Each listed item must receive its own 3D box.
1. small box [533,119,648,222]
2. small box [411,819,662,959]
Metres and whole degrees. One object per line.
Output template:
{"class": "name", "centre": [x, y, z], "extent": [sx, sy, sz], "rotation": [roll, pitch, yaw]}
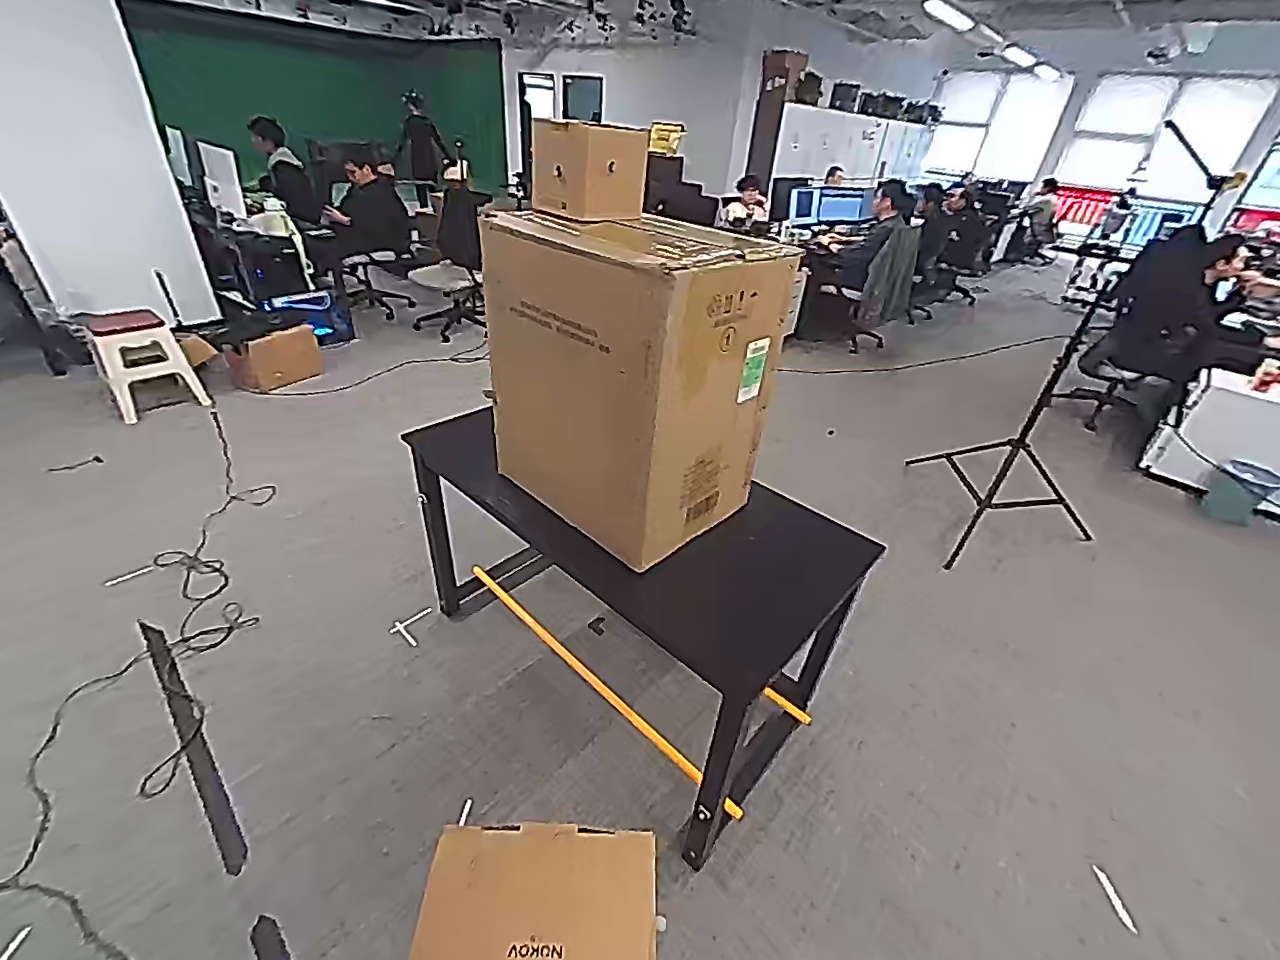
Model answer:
{"class": "small box", "centre": [-0.103, -0.644, 1.129], "extent": [0.168, 0.176, 0.179], "rotation": [30, 40, 31]}
{"class": "small box", "centre": [-0.074, 0.379, 0.401], "extent": [0.168, 0.176, 0.179], "rotation": [3, 42, -2]}
